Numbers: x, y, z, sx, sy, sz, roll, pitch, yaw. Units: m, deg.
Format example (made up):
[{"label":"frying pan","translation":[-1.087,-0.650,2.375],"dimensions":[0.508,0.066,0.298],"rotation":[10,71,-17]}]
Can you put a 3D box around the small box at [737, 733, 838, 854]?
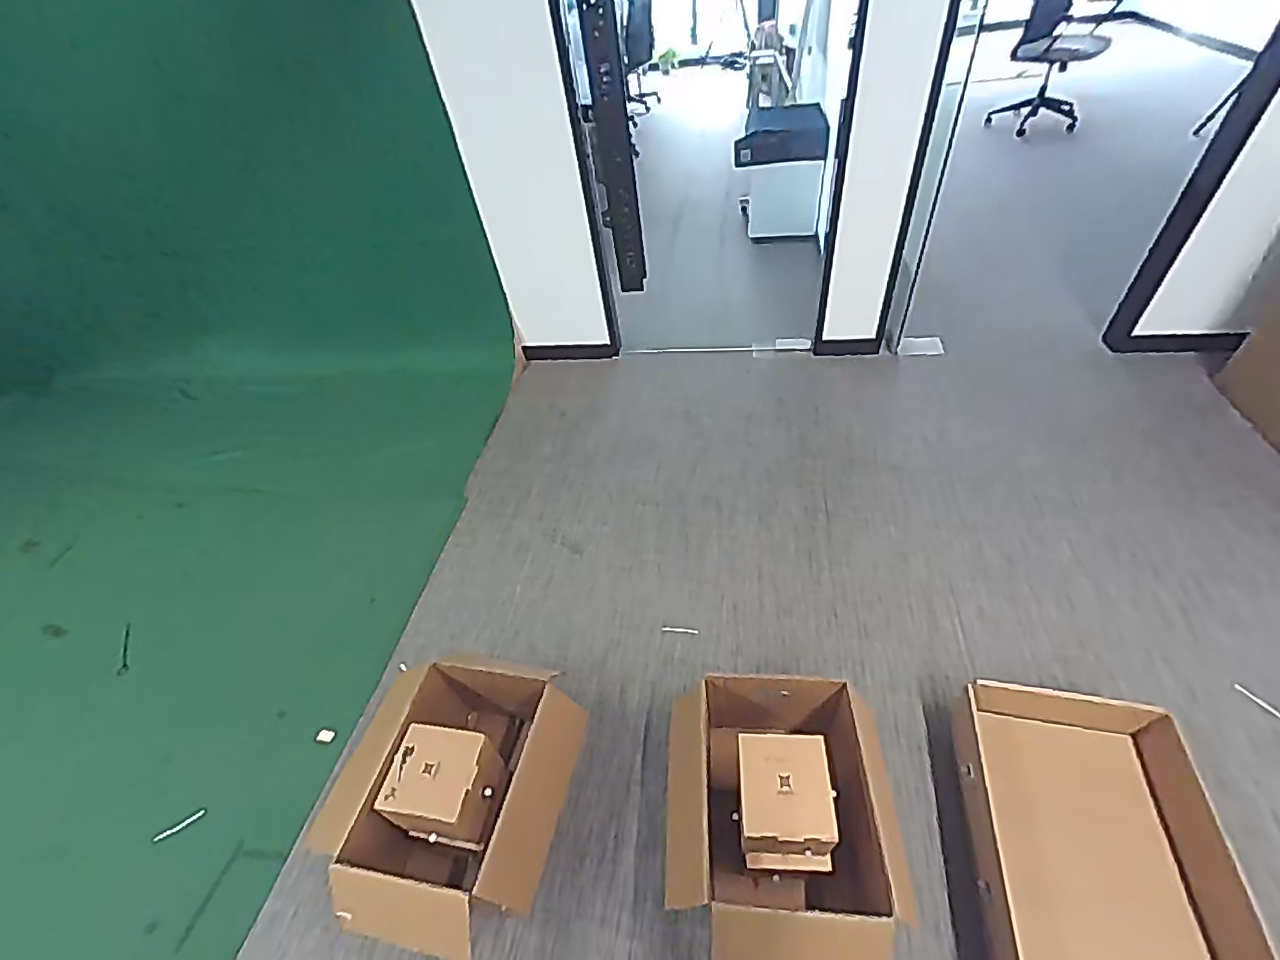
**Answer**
[{"label":"small box","translation":[0.278,0.614,1.056],"dimensions":[0.168,0.176,0.179],"rotation":[-1,48,7]}]
